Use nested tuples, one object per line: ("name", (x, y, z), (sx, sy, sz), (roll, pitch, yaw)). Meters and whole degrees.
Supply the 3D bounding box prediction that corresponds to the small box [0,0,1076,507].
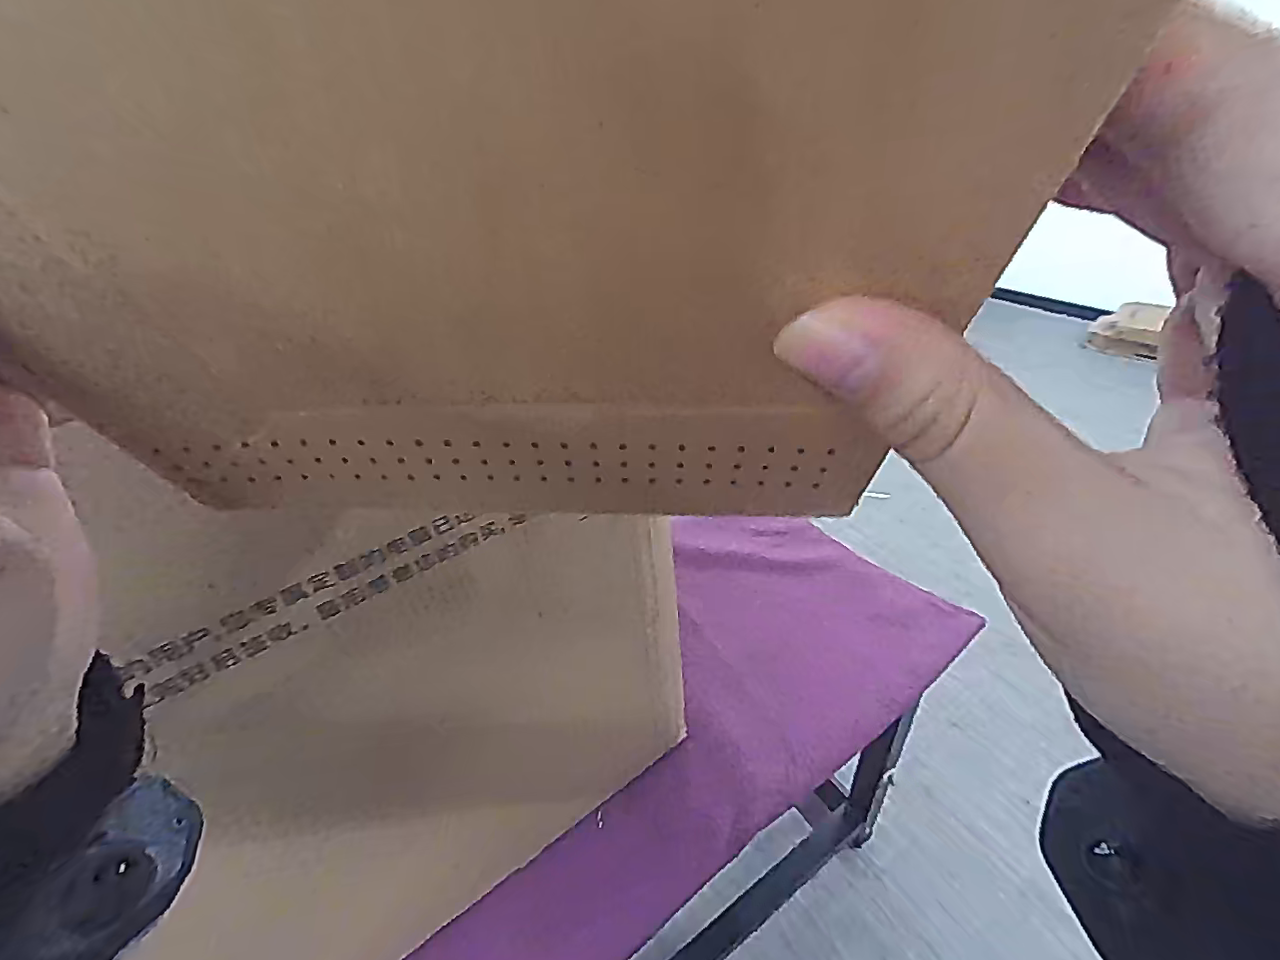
("small box", (-0.029, -0.104, 0.121), (0.179, 0.176, 0.168), (1, 57, 0))
